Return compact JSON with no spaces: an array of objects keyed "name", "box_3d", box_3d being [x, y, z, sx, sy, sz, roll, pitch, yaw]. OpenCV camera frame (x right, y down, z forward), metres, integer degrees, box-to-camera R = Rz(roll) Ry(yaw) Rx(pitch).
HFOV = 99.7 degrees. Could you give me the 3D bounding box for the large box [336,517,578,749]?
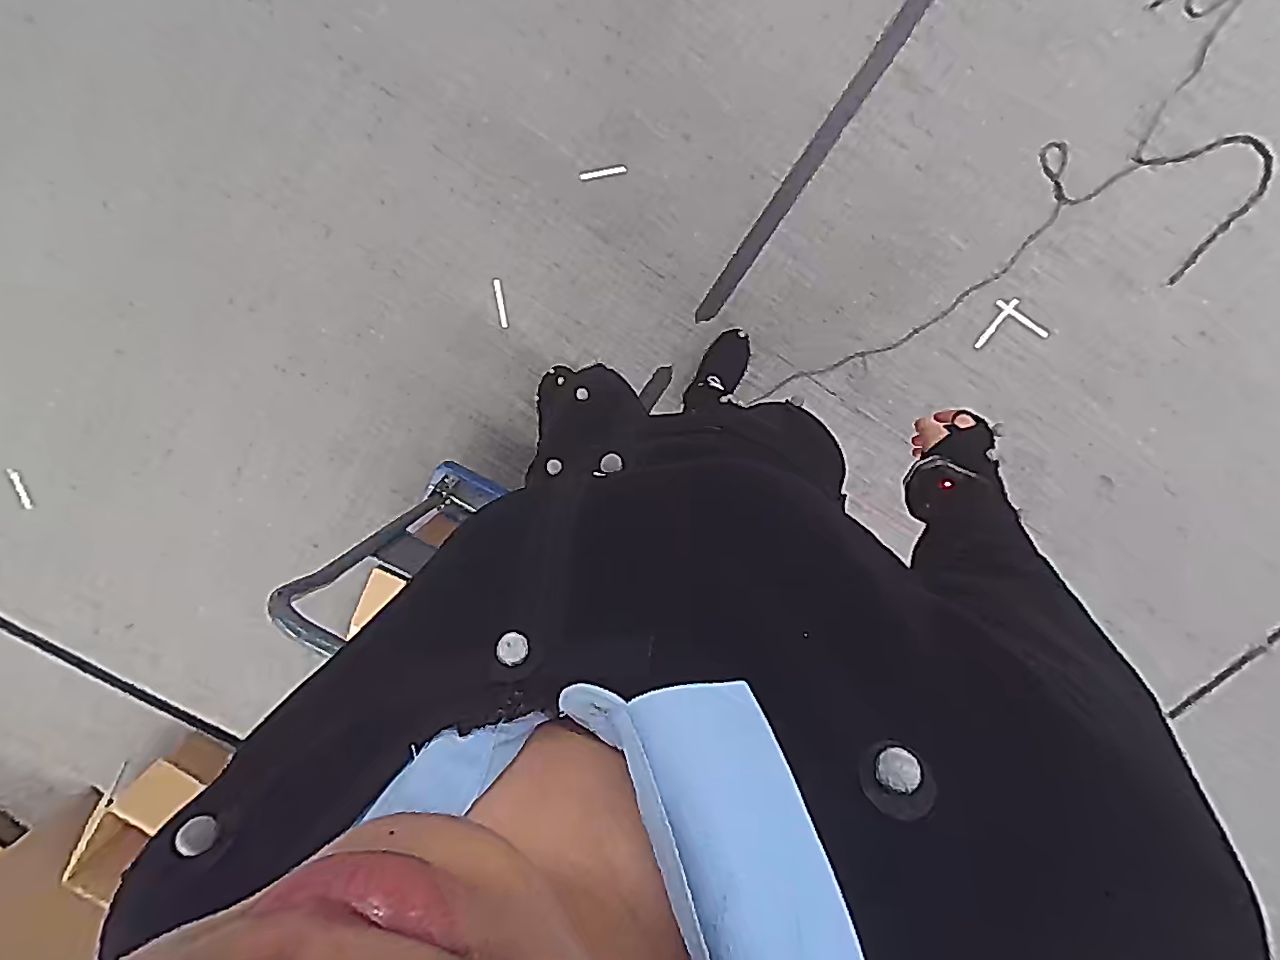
[{"name":"large box","box_3d":[-0.408,0.345,1.288,0.408,0.320,0.320,27,106,-4]}]
